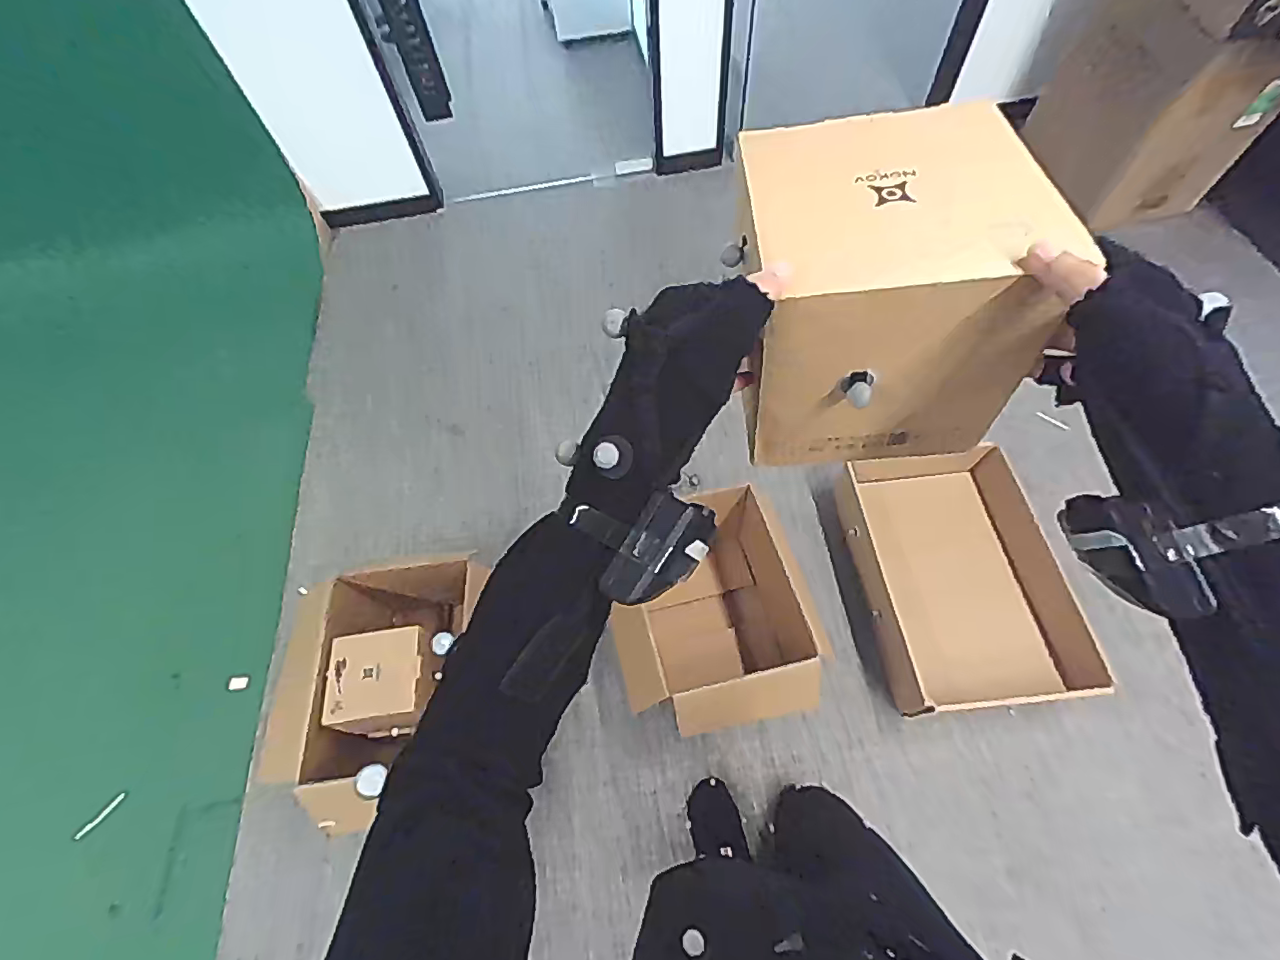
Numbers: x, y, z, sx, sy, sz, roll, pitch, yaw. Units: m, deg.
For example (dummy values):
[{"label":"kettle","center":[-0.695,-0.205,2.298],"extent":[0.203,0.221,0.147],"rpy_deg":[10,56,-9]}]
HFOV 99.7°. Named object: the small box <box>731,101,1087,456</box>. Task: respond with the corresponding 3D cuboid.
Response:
[{"label":"small box","center":[0.156,-0.129,0.390],"extent":[0.168,0.176,0.179],"rpy_deg":[-4,57,7]}]
